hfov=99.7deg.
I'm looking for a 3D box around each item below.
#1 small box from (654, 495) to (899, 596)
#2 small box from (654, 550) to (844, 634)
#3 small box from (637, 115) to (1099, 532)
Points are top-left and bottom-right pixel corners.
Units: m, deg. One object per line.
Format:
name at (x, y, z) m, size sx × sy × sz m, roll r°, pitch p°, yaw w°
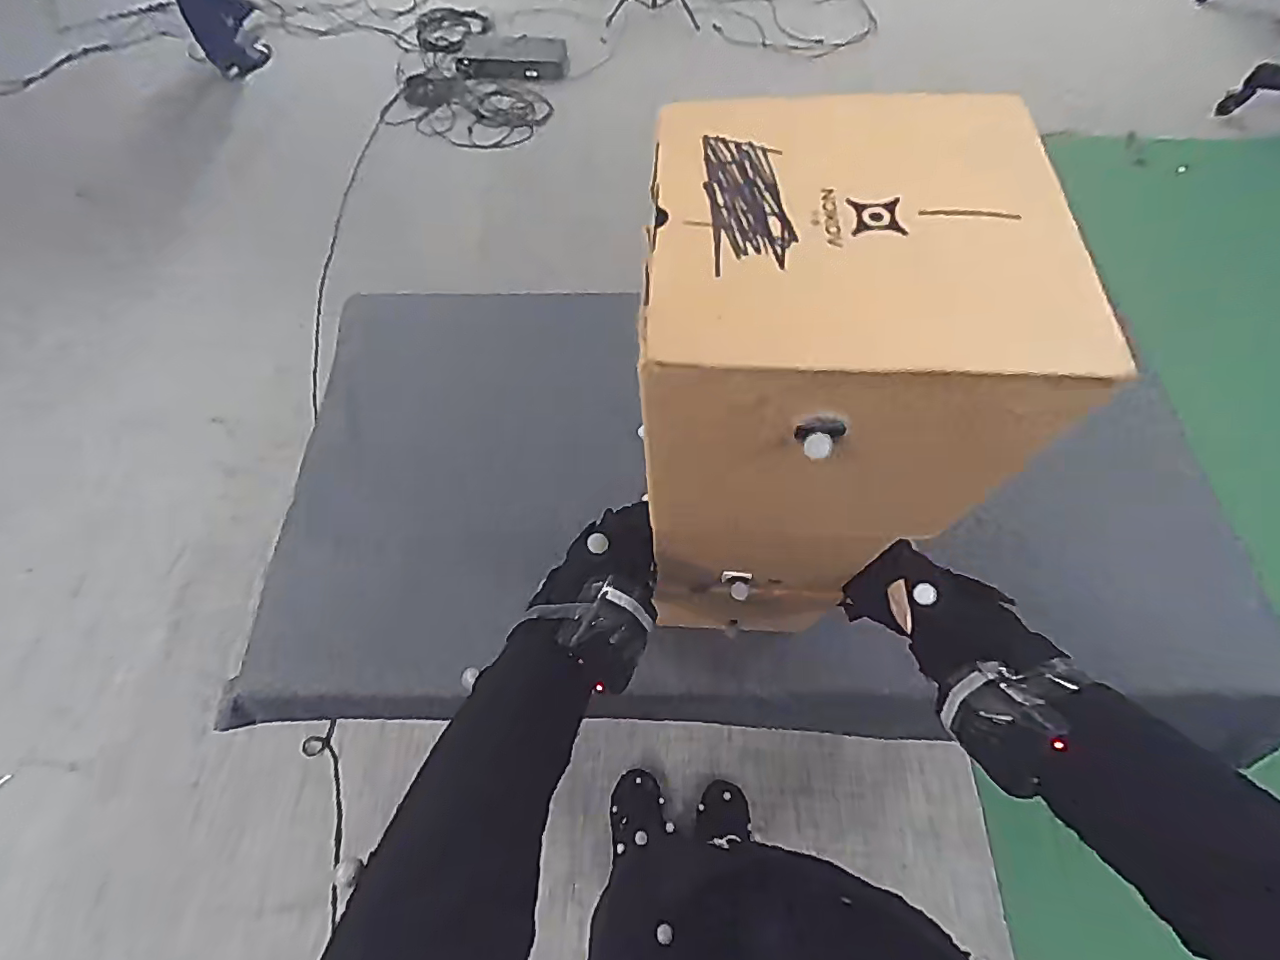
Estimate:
small box at (0.097, -0.011, 0.464) m, size 0.168 × 0.176 × 0.179 m, roll 1°, pitch 64°, yaw 4°
small box at (0.107, 0.071, 0.605) m, size 0.179 × 0.176 × 0.168 m, roll 2°, pitch 63°, yaw 2°
small box at (0.095, -0.076, 0.314) m, size 0.179 × 0.176 × 0.168 m, roll 2°, pitch 63°, yaw 4°
